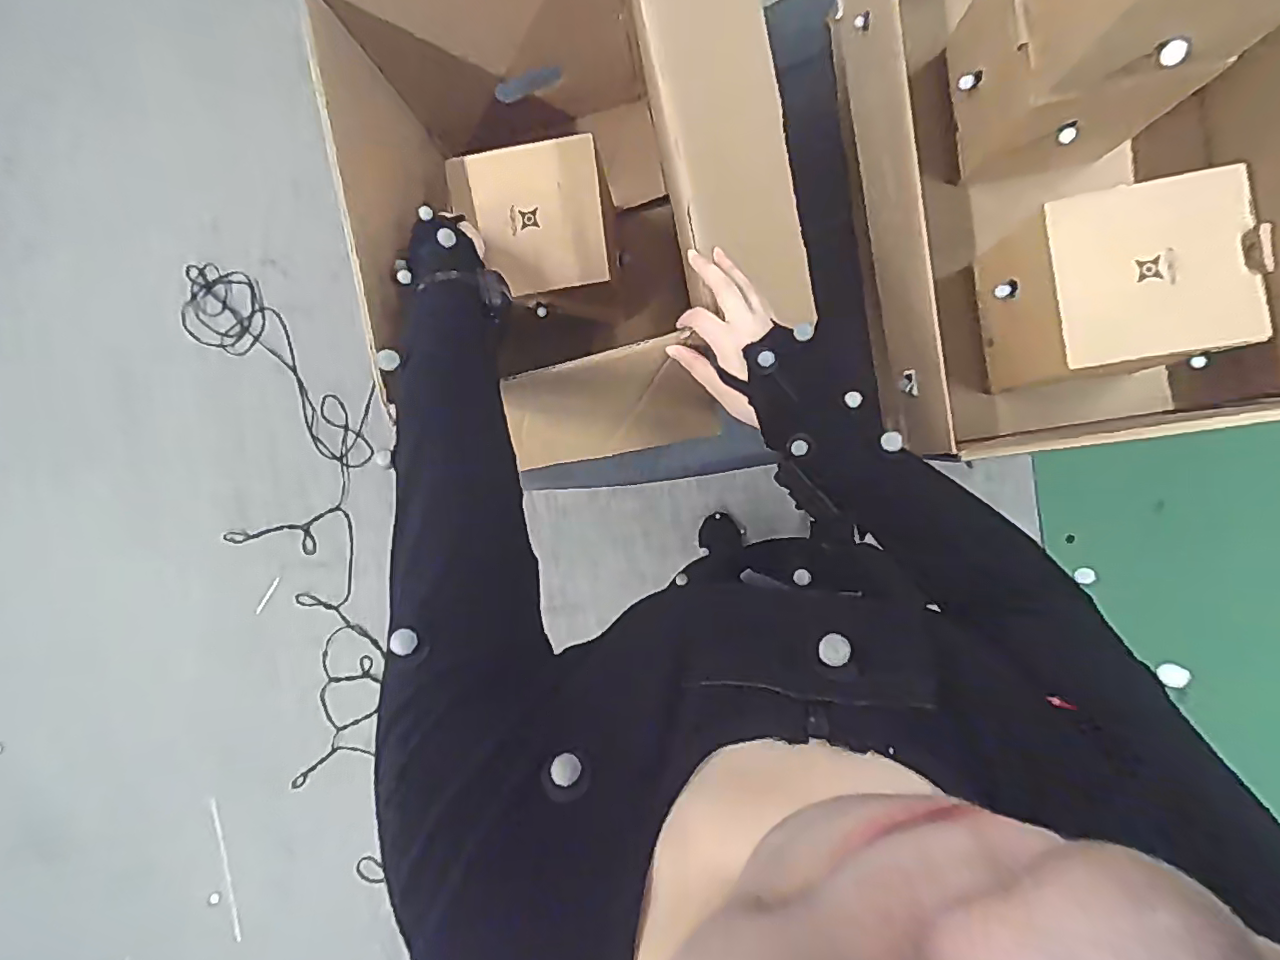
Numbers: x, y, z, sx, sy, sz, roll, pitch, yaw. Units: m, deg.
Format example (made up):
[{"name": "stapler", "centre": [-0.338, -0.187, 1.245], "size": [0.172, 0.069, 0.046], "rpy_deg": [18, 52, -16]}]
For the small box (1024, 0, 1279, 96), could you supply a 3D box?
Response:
[{"name": "small box", "centre": [0.435, -0.455, 0.426], "size": [0.168, 0.176, 0.179], "rpy_deg": [-7, 94, 7]}]
